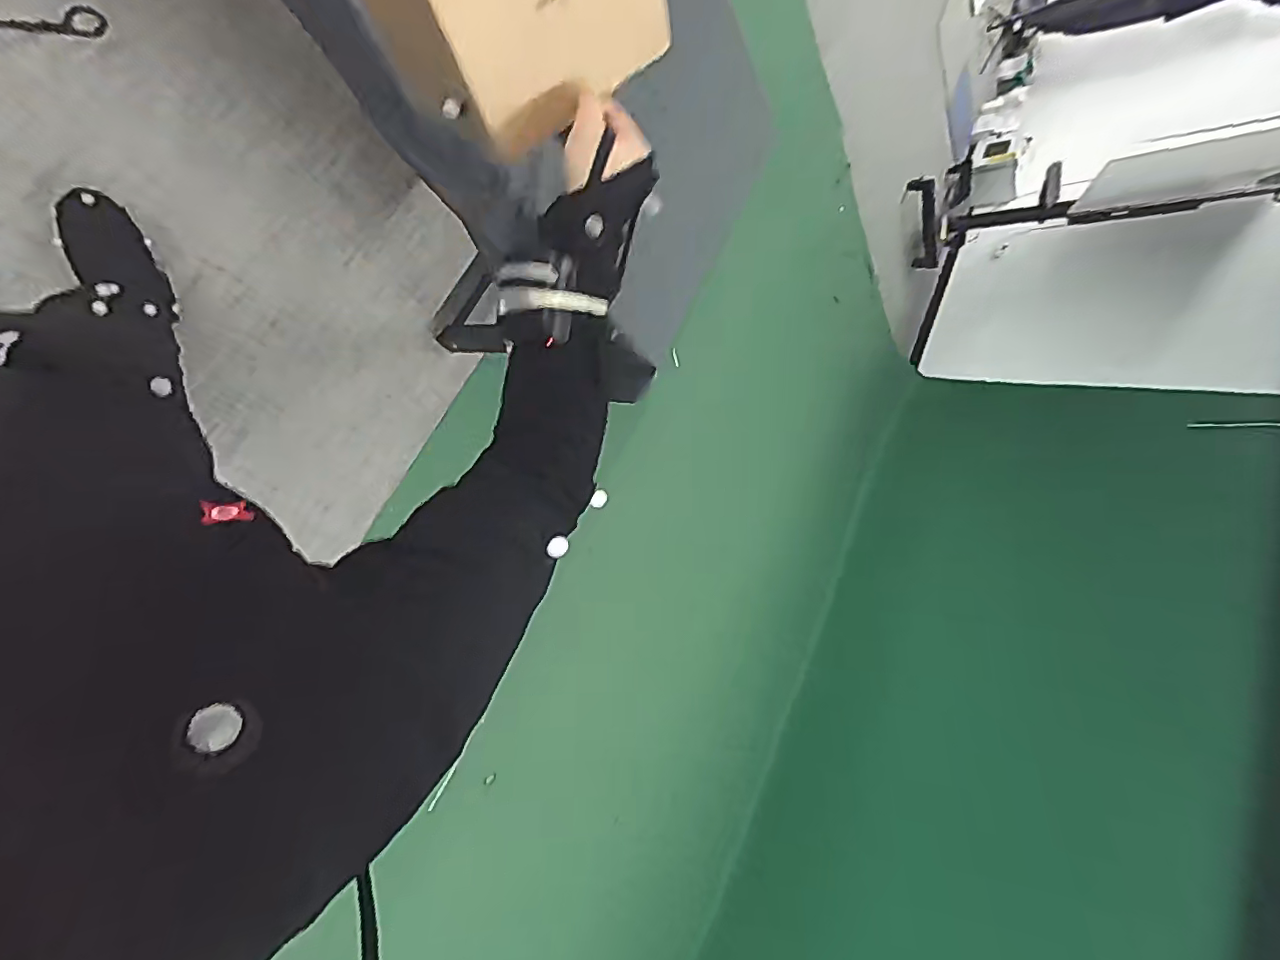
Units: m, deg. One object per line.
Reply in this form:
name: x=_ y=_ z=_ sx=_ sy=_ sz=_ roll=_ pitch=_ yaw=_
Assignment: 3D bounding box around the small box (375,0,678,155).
small box: x=-0.100 y=-0.379 z=0.375 sx=0.168 sy=0.176 sz=0.179 roll=-41 pitch=154 yaw=-6
